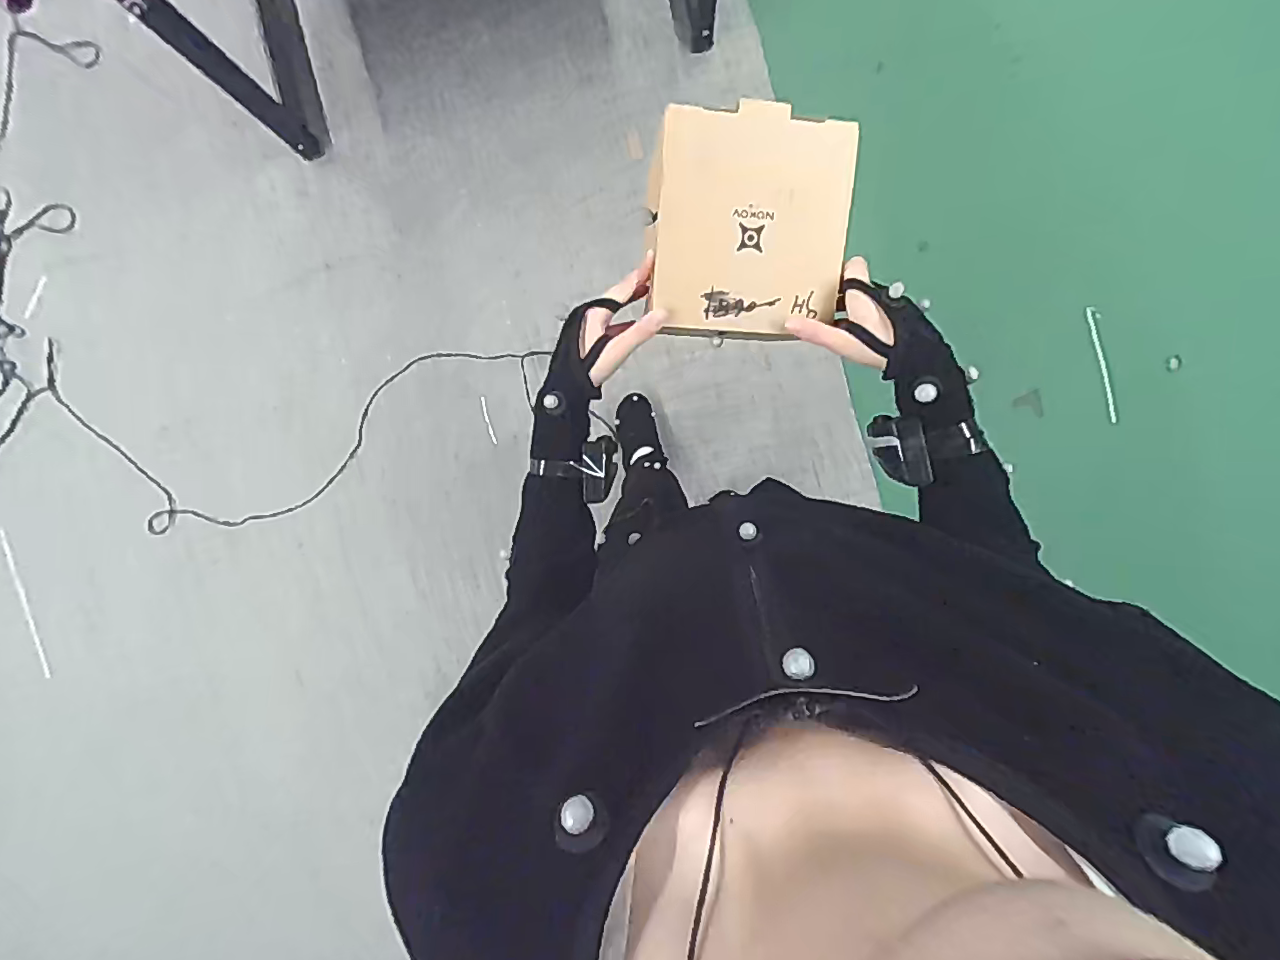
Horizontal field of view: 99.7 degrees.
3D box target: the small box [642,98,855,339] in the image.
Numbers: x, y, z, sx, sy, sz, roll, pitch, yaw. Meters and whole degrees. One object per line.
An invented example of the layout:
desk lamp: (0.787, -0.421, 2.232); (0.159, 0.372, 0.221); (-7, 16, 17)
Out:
small box: (0.090, -0.240, 0.541); (0.168, 0.176, 0.179); (3, 103, -3)
